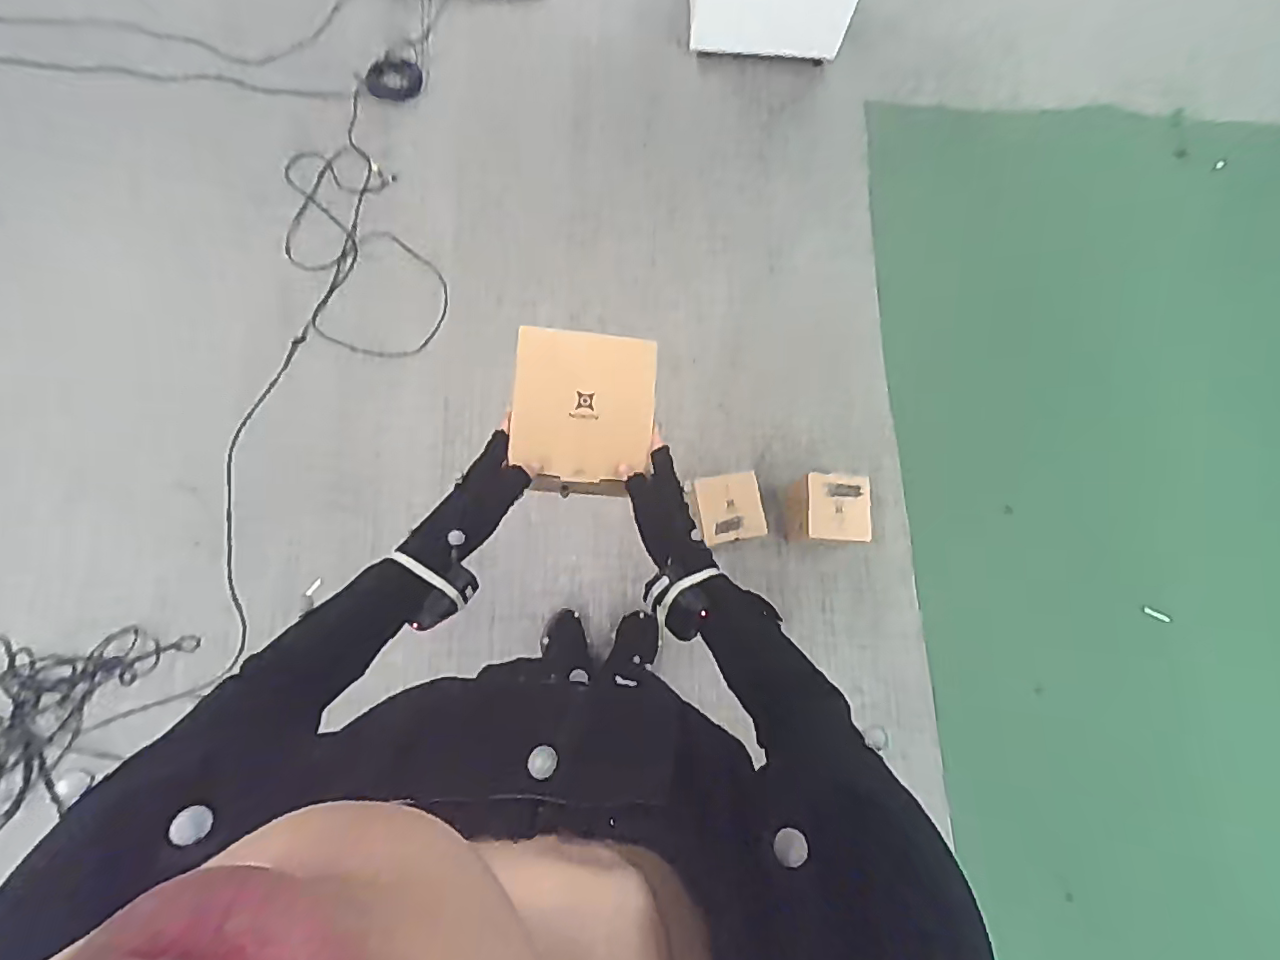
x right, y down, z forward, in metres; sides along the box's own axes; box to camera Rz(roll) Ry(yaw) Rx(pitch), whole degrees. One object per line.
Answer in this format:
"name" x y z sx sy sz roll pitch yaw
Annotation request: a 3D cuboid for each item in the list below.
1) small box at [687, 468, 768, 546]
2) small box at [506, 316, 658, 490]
"small box" 0.229 0.079 1.448 0.168 0.176 0.179 -9 77 -5
"small box" -0.077 -0.086 0.694 0.168 0.176 0.179 4 83 -9
